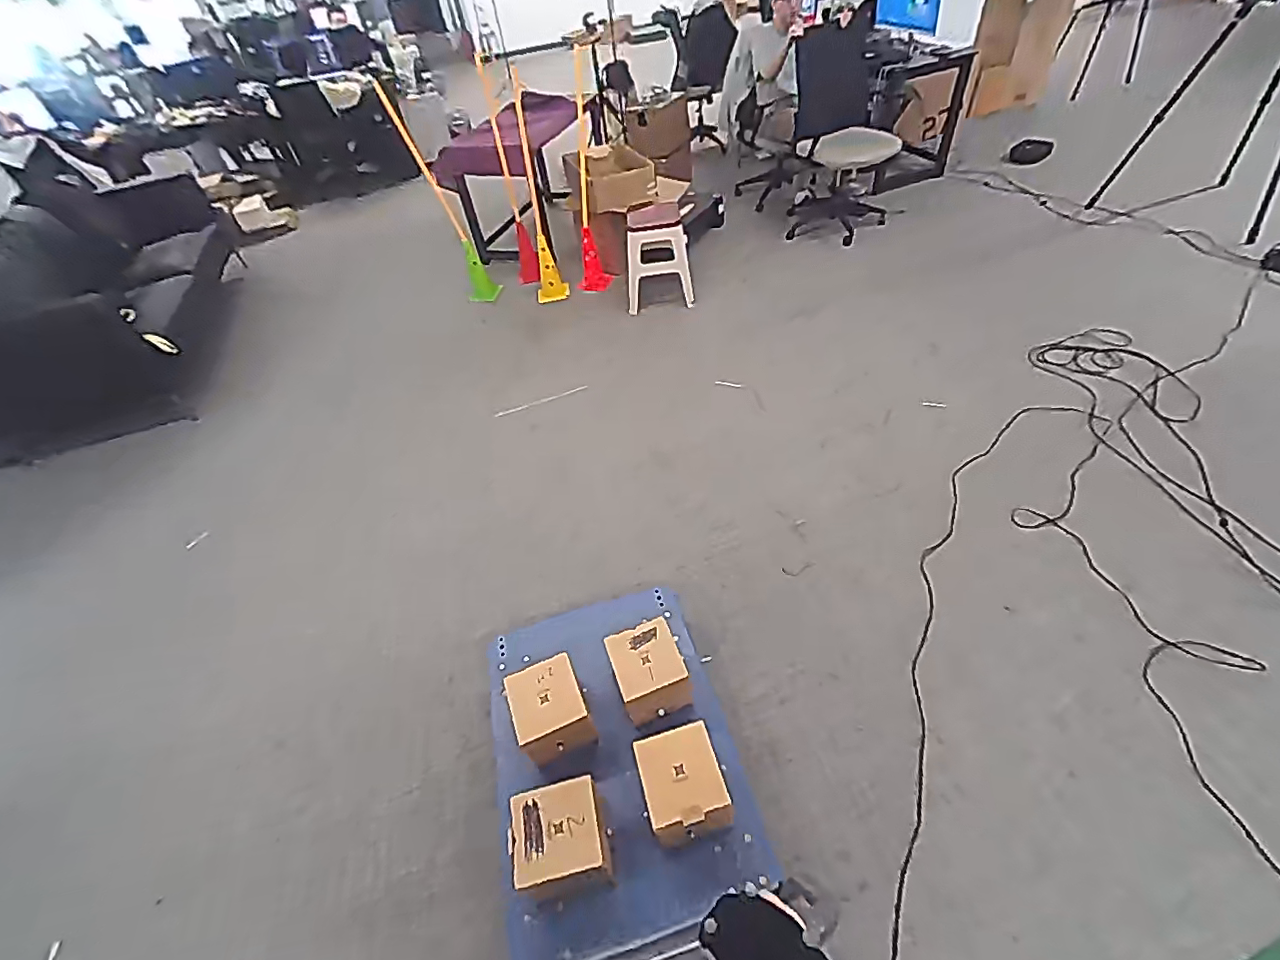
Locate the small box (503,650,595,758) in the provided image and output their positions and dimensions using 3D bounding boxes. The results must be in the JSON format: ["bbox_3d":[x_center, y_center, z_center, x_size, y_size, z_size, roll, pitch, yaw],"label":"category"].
[{"bbox_3d":[-0.220,0.562,1.338,0.168,0.176,0.179,-20,47,-11],"label":"small box"}]

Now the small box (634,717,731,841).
[{"bbox_3d":[0.092,0.662,1.196,0.168,0.176,0.179,-16,47,-6],"label":"small box"}]

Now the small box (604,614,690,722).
[{"bbox_3d":[0.019,0.480,1.379,0.168,0.176,0.179,-19,47,-9],"label":"small box"}]
